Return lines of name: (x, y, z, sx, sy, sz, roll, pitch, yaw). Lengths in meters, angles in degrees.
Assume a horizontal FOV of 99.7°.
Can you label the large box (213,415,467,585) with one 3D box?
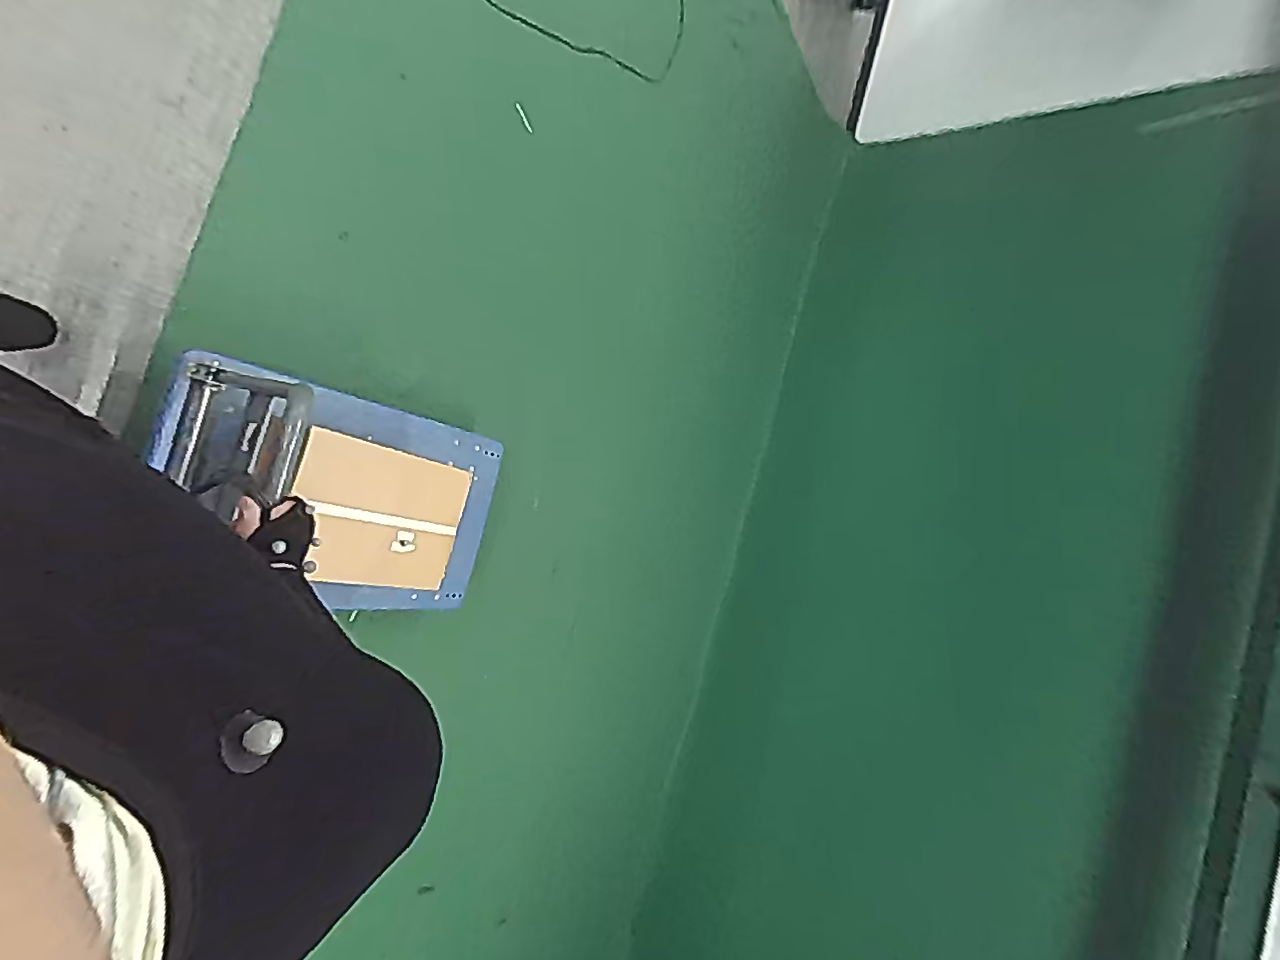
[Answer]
large box: (-0.712, 0.055, 1.309, 0.408, 0.320, 0.320, 23, 82, -54)
